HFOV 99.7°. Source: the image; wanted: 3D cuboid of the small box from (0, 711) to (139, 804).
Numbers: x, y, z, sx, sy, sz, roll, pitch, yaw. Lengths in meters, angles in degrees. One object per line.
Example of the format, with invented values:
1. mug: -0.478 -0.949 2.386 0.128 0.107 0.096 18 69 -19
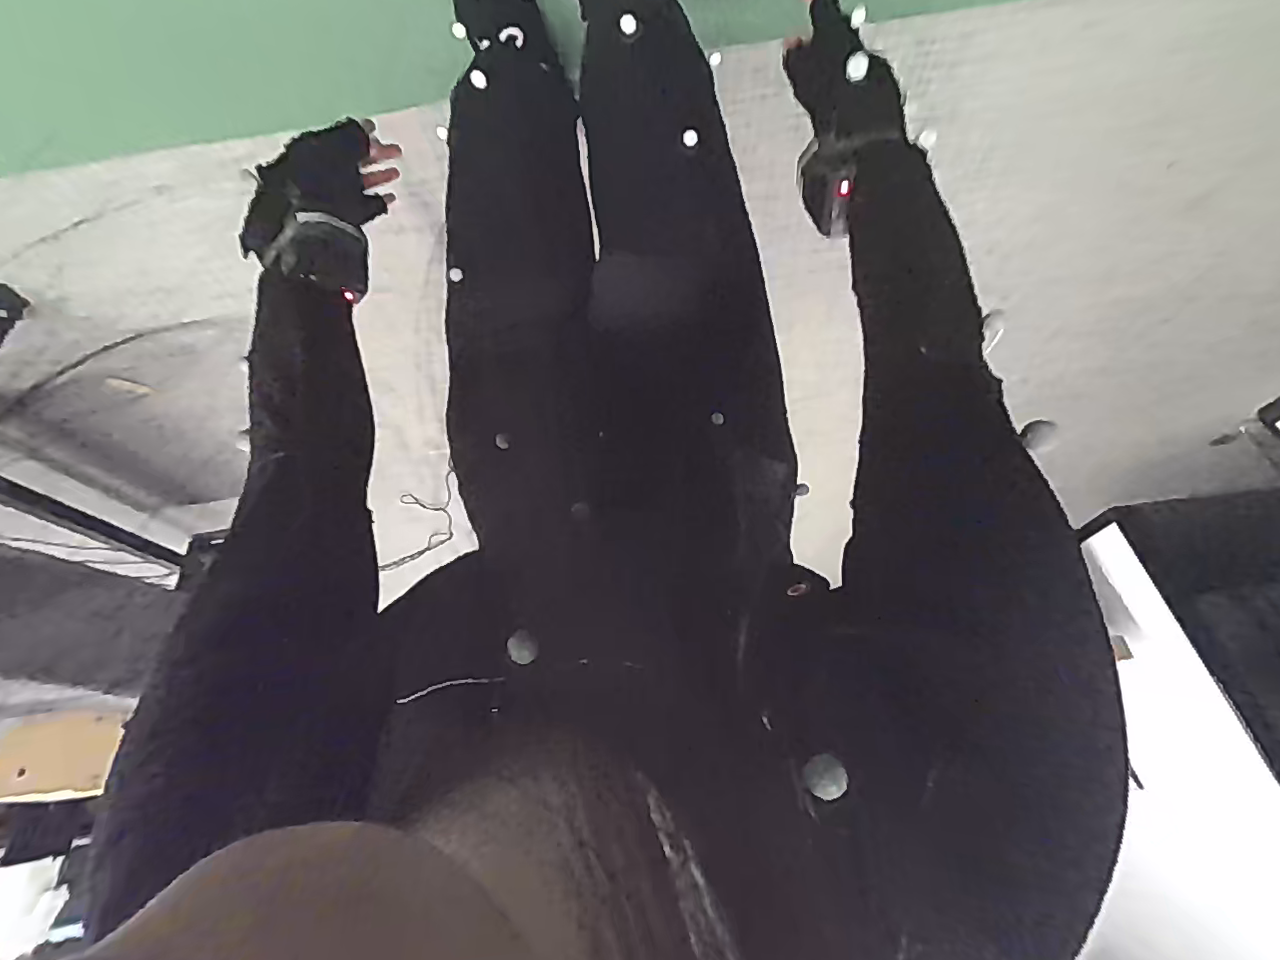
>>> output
1. small box: -1.319 0.640 1.250 0.179 0.176 0.168 -9 150 2
